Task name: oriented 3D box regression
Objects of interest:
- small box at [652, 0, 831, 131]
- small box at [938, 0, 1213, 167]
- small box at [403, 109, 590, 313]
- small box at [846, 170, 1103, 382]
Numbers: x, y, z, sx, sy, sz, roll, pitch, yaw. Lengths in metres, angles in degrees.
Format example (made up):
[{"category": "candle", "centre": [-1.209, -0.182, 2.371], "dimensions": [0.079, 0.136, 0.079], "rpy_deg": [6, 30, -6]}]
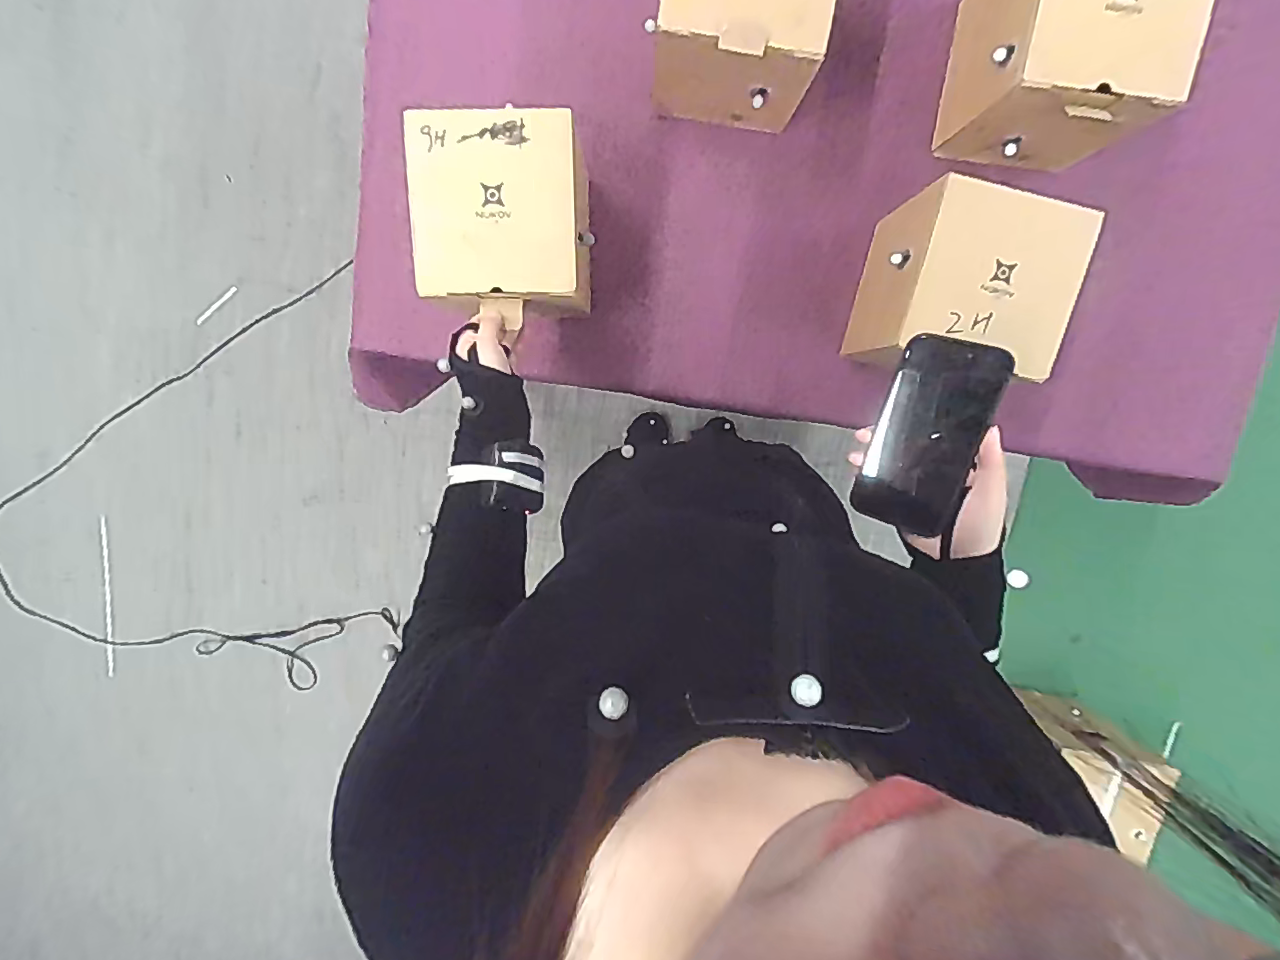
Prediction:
[{"category": "small box", "centre": [0.106, -0.510, 0.578], "dimensions": [0.168, 0.176, 0.179], "rpy_deg": [8, 100, -2]}, {"category": "small box", "centre": [0.454, -0.471, 0.583], "dimensions": [0.168, 0.176, 0.179], "rpy_deg": [6, 101, 0]}, {"category": "small box", "centre": [-0.148, -0.288, 0.617], "dimensions": [0.168, 0.176, 0.179], "rpy_deg": [-1, 100, 0]}, {"category": "small box", "centre": [0.363, -0.217, 0.625], "dimensions": [0.168, 0.176, 0.179], "rpy_deg": [13, 100, -1]}]
